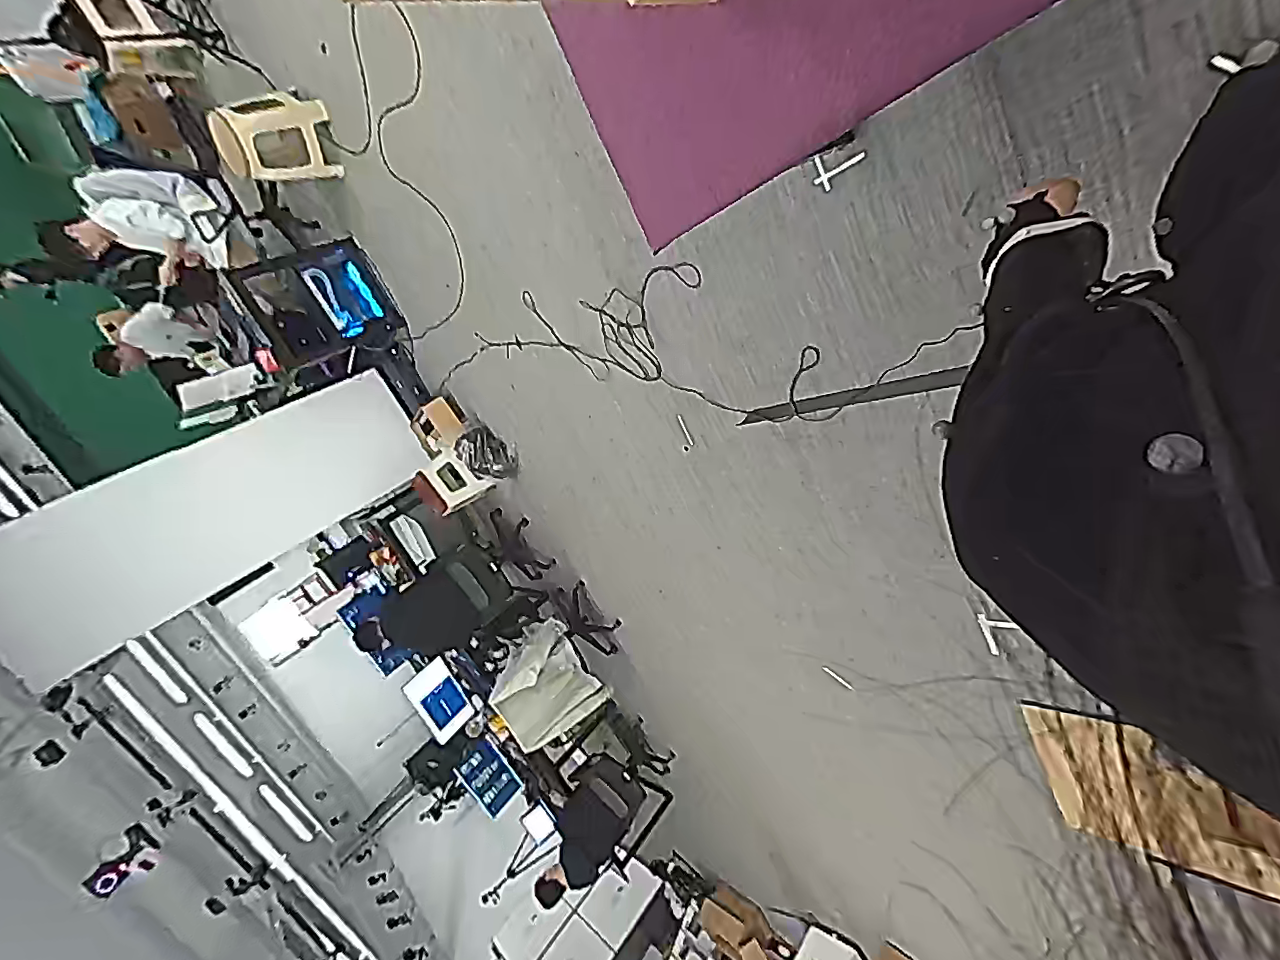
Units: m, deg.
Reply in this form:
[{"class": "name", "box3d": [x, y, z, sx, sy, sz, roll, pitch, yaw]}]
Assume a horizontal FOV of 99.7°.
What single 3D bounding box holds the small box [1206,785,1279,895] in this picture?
[{"class": "small box", "box3d": [1.671, 0.976, 1.469, 0.168, 0.176, 0.179, -6, 117, 53]}]
